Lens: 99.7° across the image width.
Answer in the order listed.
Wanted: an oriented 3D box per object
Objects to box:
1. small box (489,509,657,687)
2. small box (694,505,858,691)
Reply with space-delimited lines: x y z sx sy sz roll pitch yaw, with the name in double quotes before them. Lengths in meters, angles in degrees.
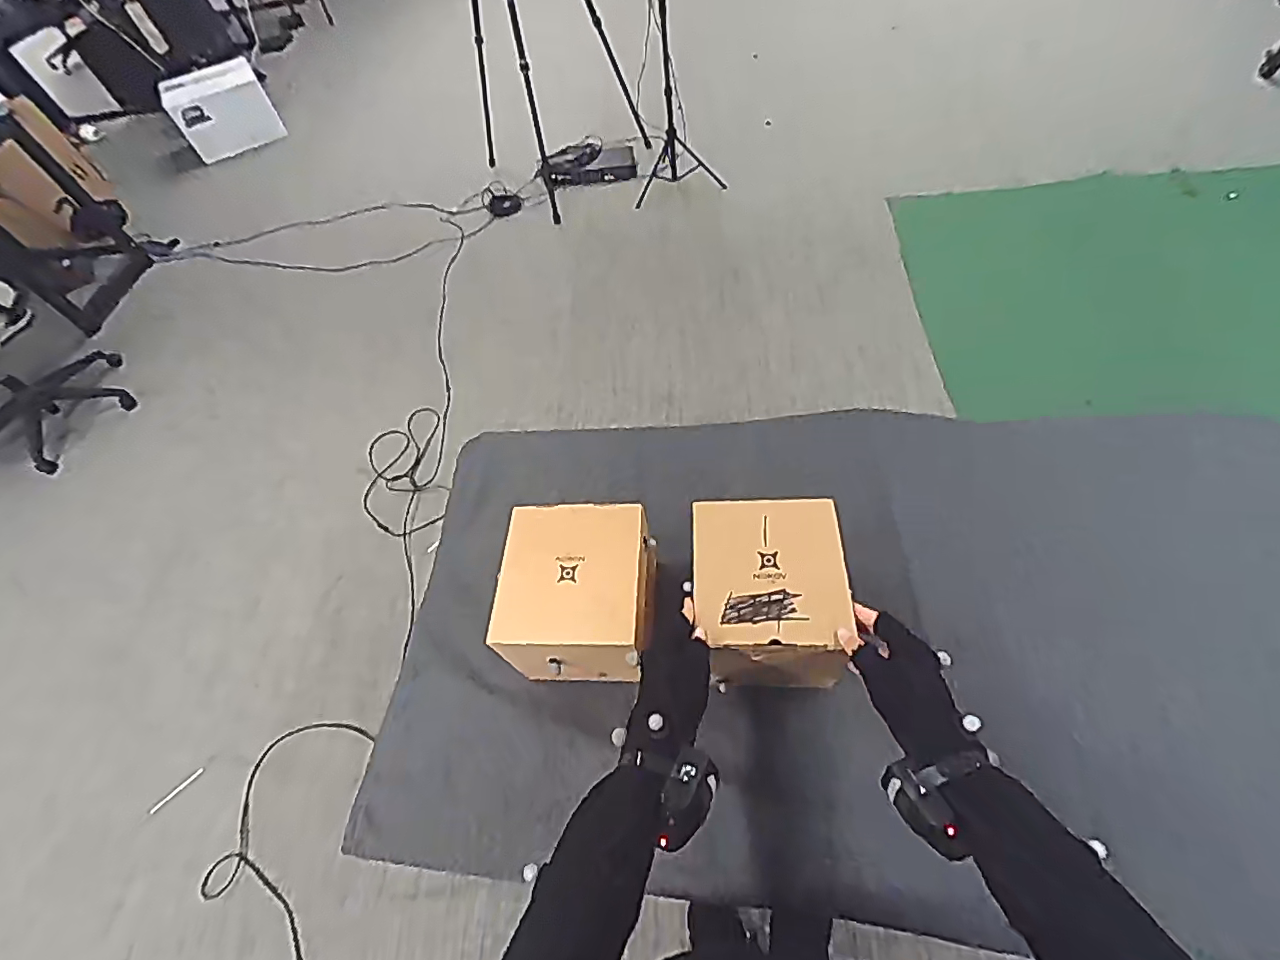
"small box" -0.069 0.155 0.685 0.168 0.176 0.179 -2 55 8
"small box" 0.152 0.147 0.654 0.168 0.176 0.179 -2 55 8
